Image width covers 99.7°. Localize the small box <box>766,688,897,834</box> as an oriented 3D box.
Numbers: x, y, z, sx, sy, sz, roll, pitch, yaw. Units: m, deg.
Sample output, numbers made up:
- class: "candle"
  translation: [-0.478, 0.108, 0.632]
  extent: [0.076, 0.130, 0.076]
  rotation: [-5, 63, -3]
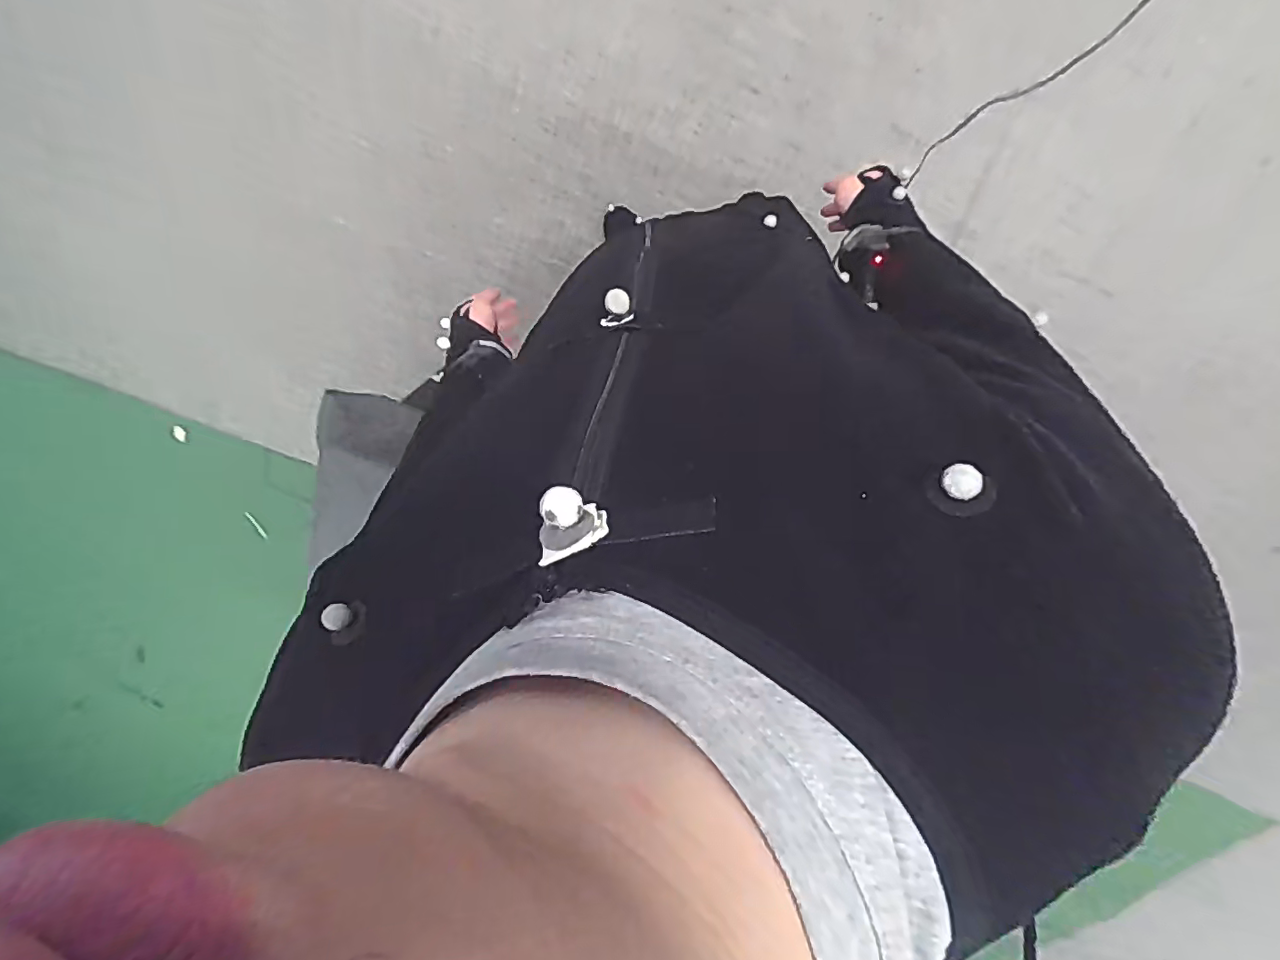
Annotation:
- class: "small box"
  translation: [0.356, 0.541, 1.049]
  extent: [0.168, 0.176, 0.179]
  rotation: [19, 121, -6]
